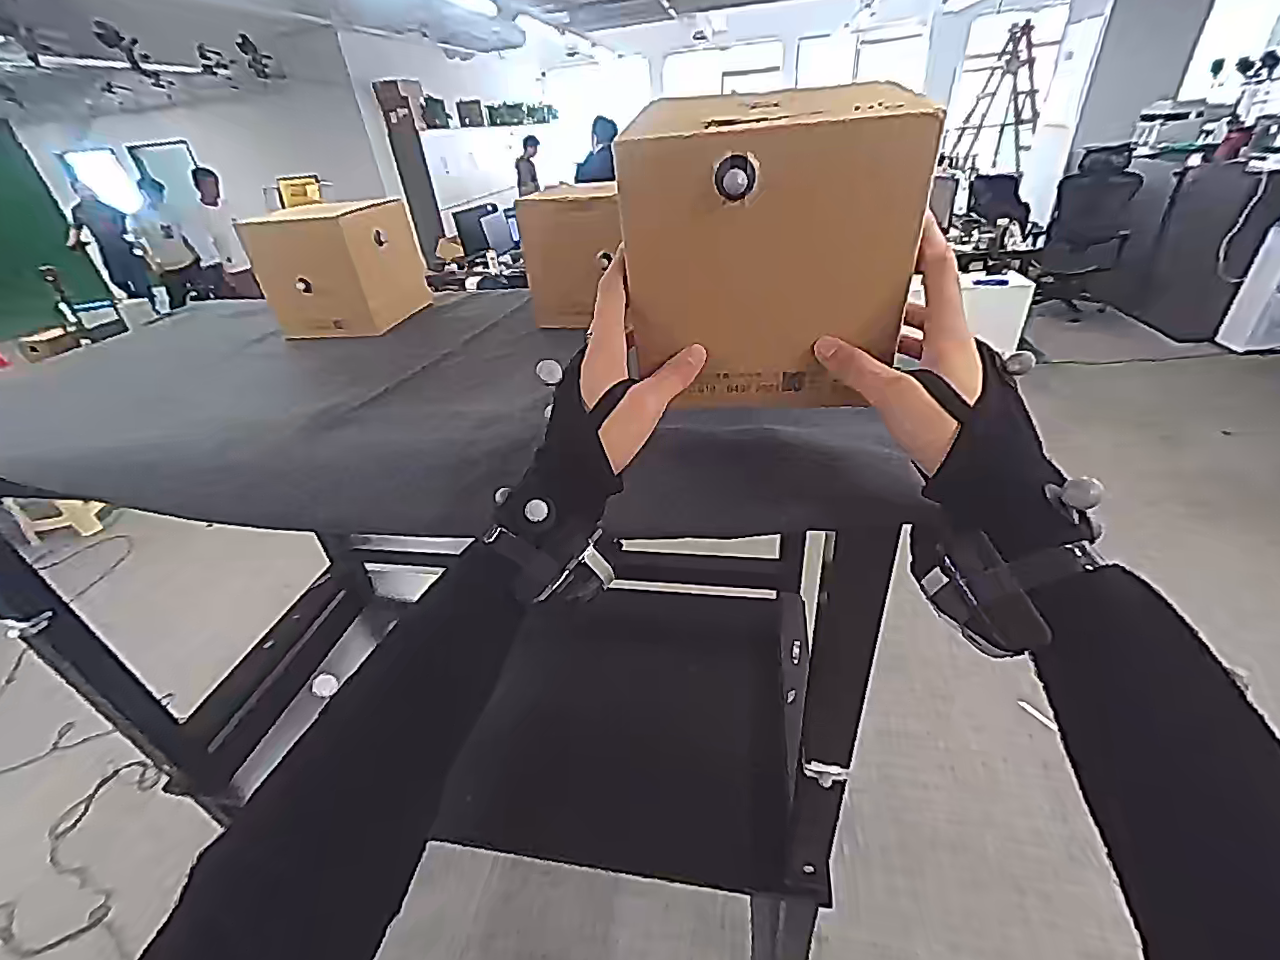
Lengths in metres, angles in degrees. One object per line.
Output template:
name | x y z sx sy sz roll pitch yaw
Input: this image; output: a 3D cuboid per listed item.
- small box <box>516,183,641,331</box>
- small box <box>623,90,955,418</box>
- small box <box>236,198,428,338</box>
small box | -0.051 -0.319 0.771 0.168 0.176 0.179 6 34 15
small box | 0.089 -0.161 0.382 0.168 0.176 0.179 1 40 10
small box | -0.458 -0.328 0.841 0.168 0.176 0.179 2 34 10
